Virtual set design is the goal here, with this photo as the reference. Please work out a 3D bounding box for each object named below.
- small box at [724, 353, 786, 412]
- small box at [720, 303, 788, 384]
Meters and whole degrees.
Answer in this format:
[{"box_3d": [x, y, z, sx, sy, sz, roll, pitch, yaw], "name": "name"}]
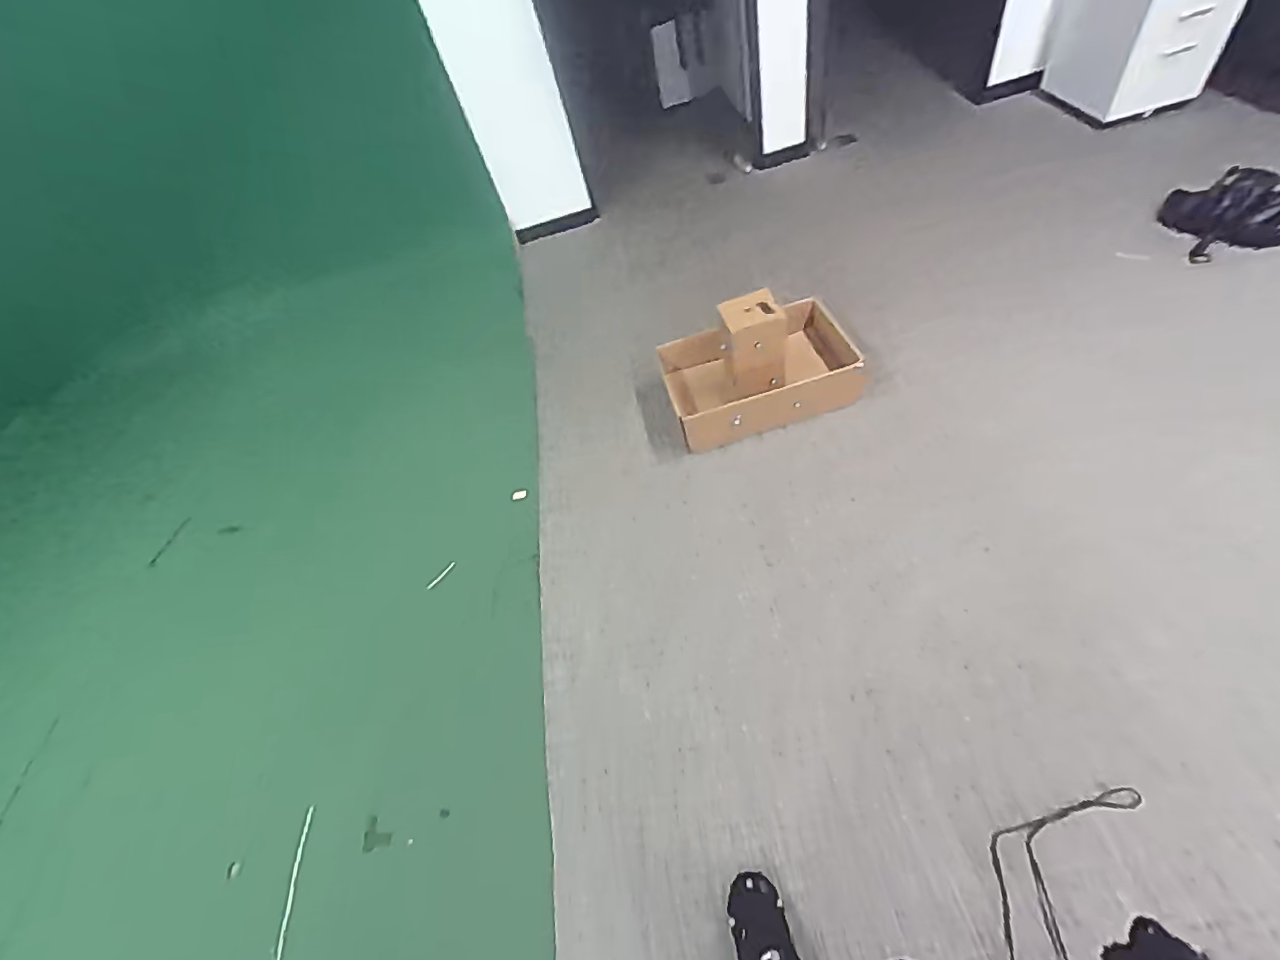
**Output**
[{"box_3d": [0.402, -0.356, 1.883, 0.168, 0.176, 0.179, -17, 48, 1], "name": "small box"}, {"box_3d": [0.372, -0.444, 1.768, 0.179, 0.176, 0.168, -17, 49, 3], "name": "small box"}]
